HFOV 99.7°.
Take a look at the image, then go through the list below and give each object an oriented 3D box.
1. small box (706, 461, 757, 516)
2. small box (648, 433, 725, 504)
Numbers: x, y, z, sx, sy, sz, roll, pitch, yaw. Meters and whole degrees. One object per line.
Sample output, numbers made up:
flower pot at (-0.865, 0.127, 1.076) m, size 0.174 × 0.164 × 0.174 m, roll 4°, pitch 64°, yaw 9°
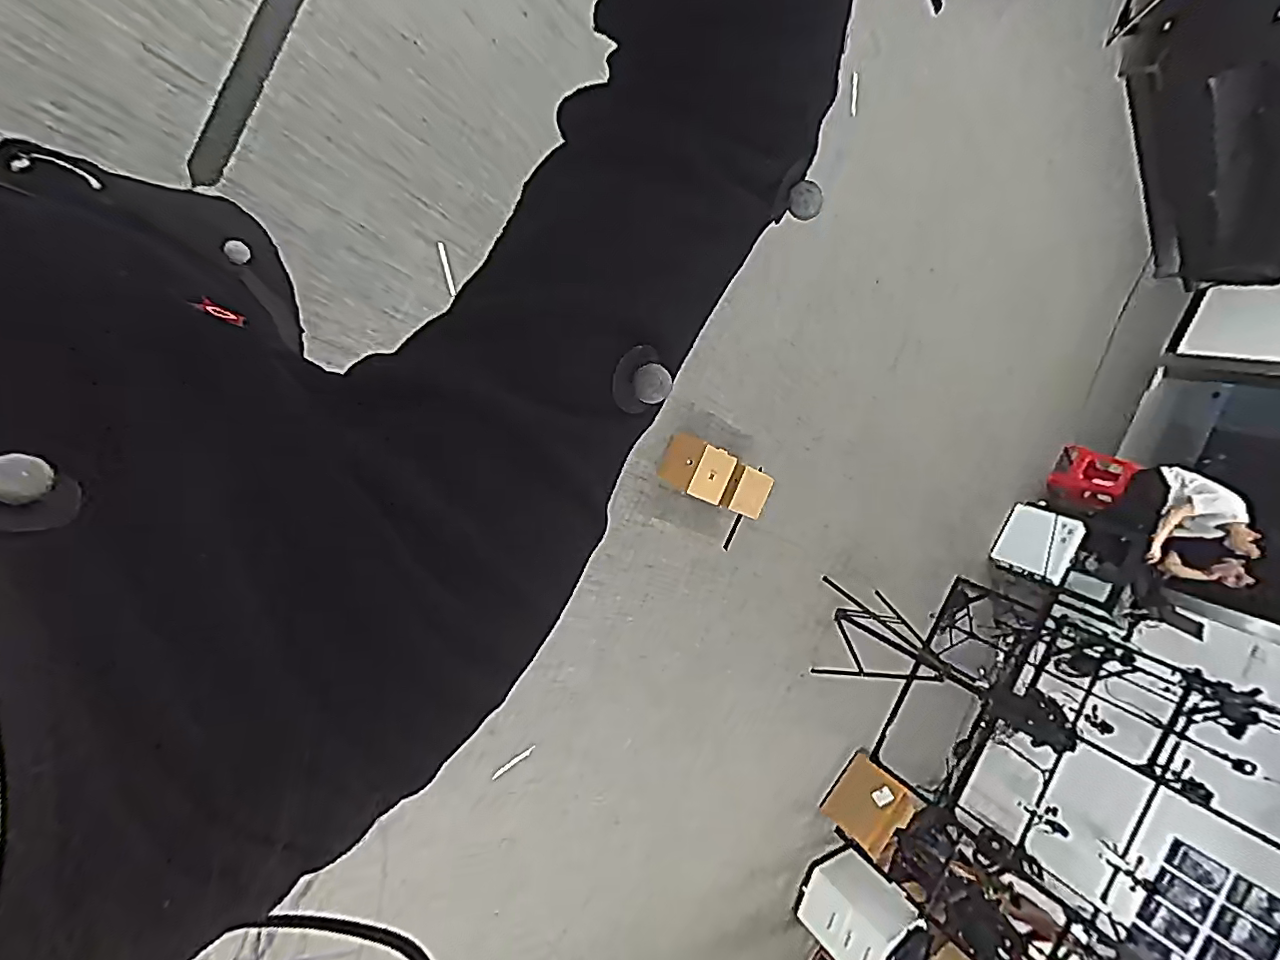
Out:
small box at (0.313, 0.020, 2.005) m, size 0.179 × 0.176 × 0.168 m, roll 21°, pitch 93°, yaw -41°
small box at (0.154, -0.043, 1.861) m, size 0.168 × 0.176 × 0.179 m, roll 22°, pitch 92°, yaw -41°
